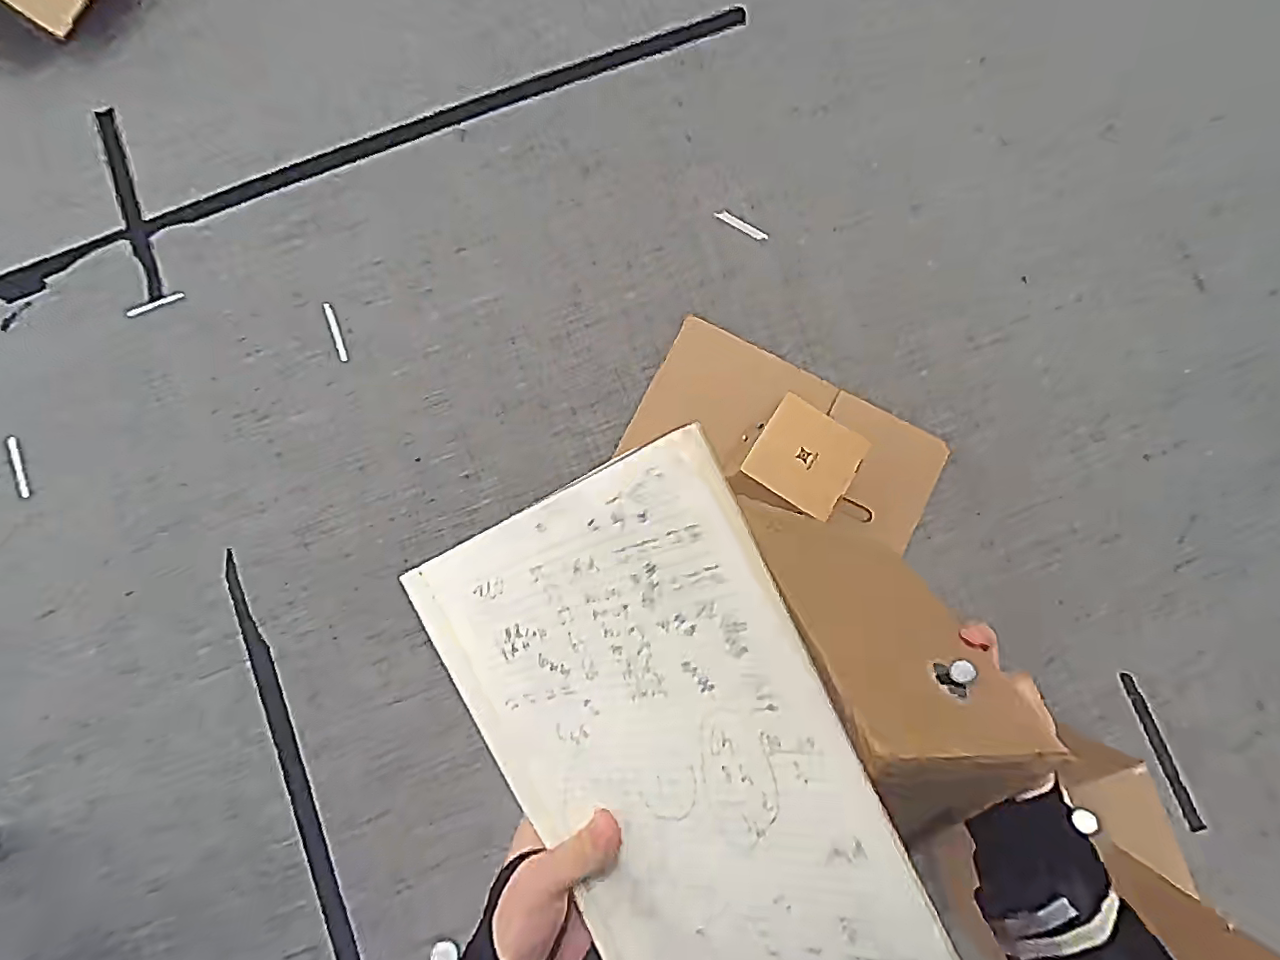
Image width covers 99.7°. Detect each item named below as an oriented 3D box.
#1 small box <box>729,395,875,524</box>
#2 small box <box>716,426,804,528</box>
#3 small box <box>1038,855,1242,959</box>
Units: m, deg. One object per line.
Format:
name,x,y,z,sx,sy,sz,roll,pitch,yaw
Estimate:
small box,0.287,-0.028,1.004,0.179,0.176,0.168,33,85,1
small box,0.288,-0.012,1.166,0.179,0.176,0.168,32,85,0
small box,0.741,0.712,0.800,0.179,0.176,0.168,-23,86,-3
